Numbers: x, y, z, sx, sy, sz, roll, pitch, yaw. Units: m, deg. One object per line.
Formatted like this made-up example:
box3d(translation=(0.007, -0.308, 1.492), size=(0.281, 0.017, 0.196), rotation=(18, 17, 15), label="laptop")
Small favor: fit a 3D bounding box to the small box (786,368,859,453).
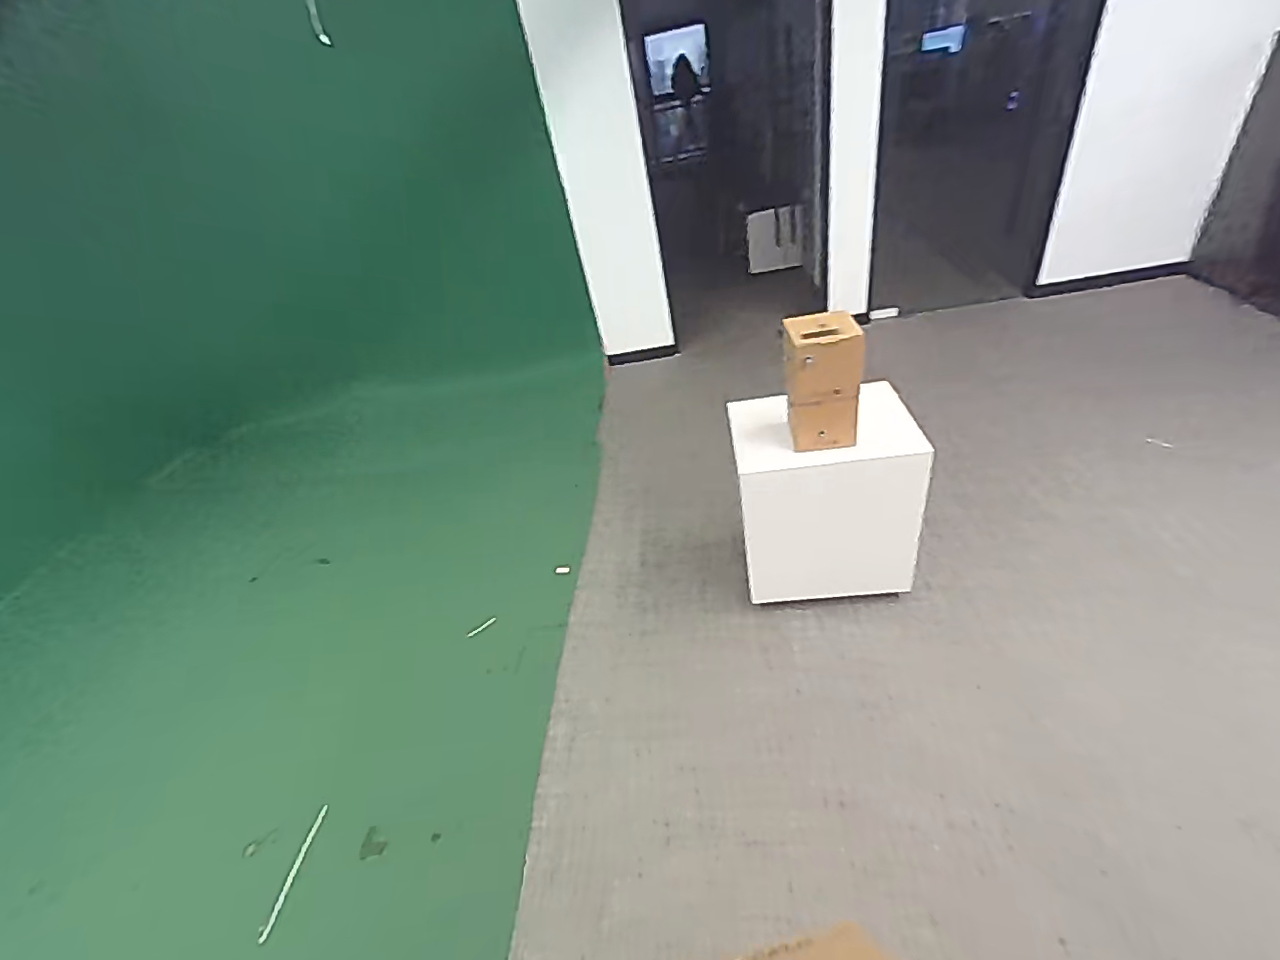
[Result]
box3d(translation=(0.505, -0.196, 1.521), size=(0.168, 0.176, 0.179), rotation=(-7, 36, 9), label="small box")
